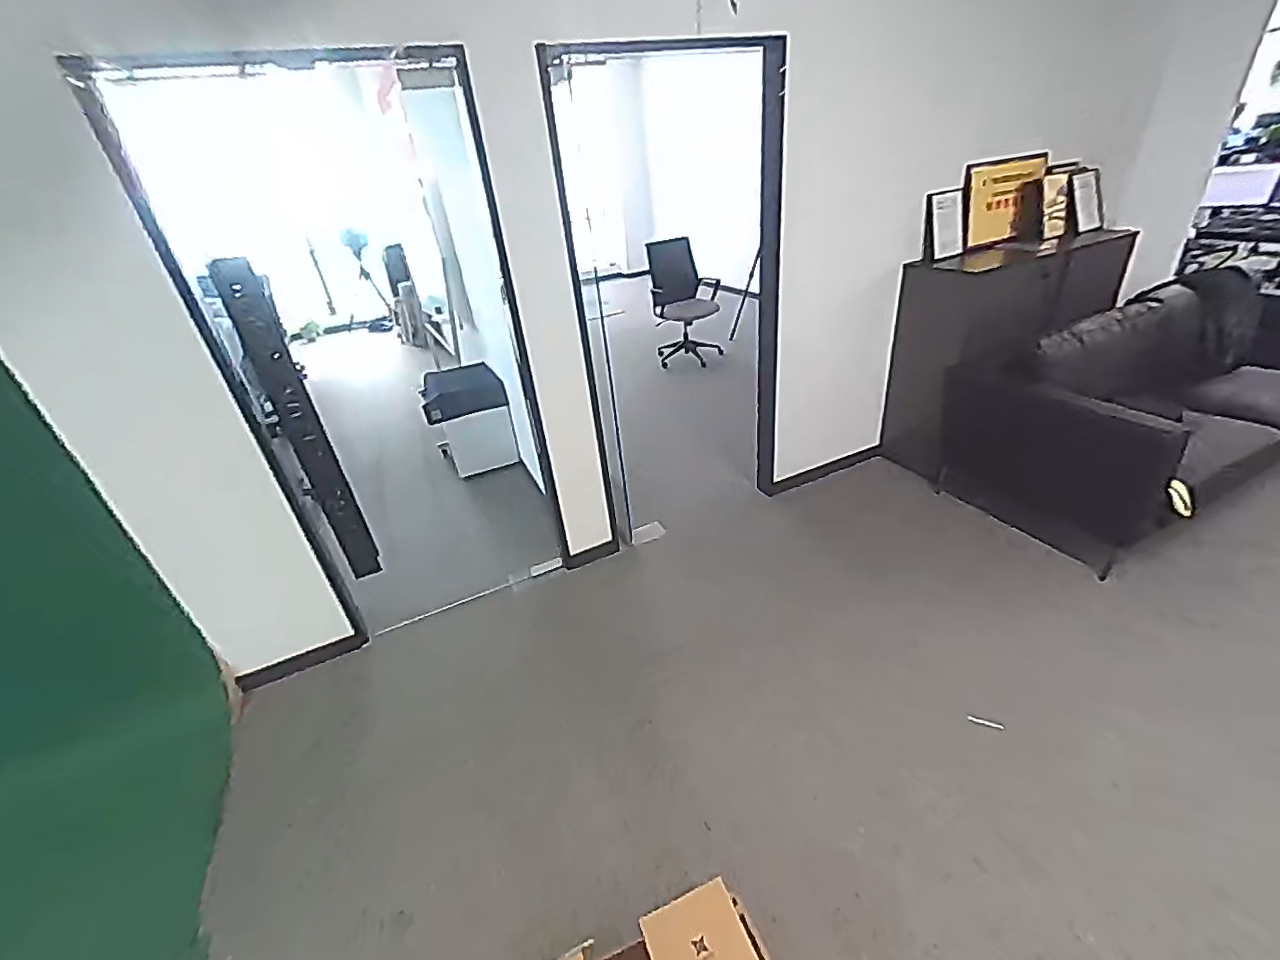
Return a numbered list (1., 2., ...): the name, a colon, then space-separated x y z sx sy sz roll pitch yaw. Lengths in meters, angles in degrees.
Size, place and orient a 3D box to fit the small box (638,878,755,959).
1. small box: 0.107 0.855 0.938 0.168 0.176 0.179 -17 32 -14
